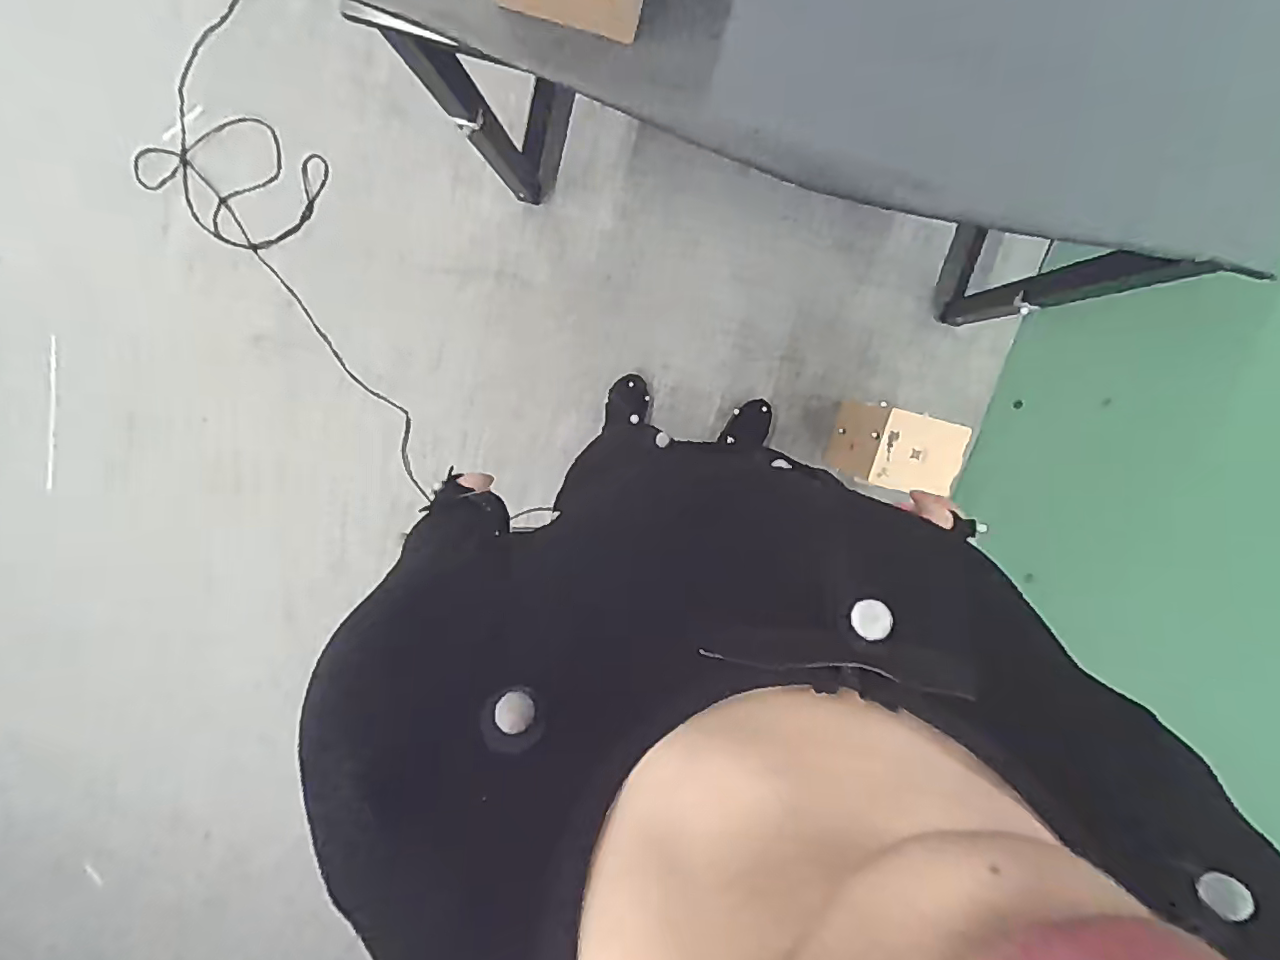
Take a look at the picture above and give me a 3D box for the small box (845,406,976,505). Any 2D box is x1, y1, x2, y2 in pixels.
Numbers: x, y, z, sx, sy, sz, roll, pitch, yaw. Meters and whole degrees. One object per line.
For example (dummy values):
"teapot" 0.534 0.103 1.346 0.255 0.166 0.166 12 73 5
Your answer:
"small box" 0.586 -0.062 1.196 0.179 0.176 0.168 17 102 0

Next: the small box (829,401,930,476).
"small box" 0.592 -0.094 1.358 0.168 0.176 0.179 14 100 1
